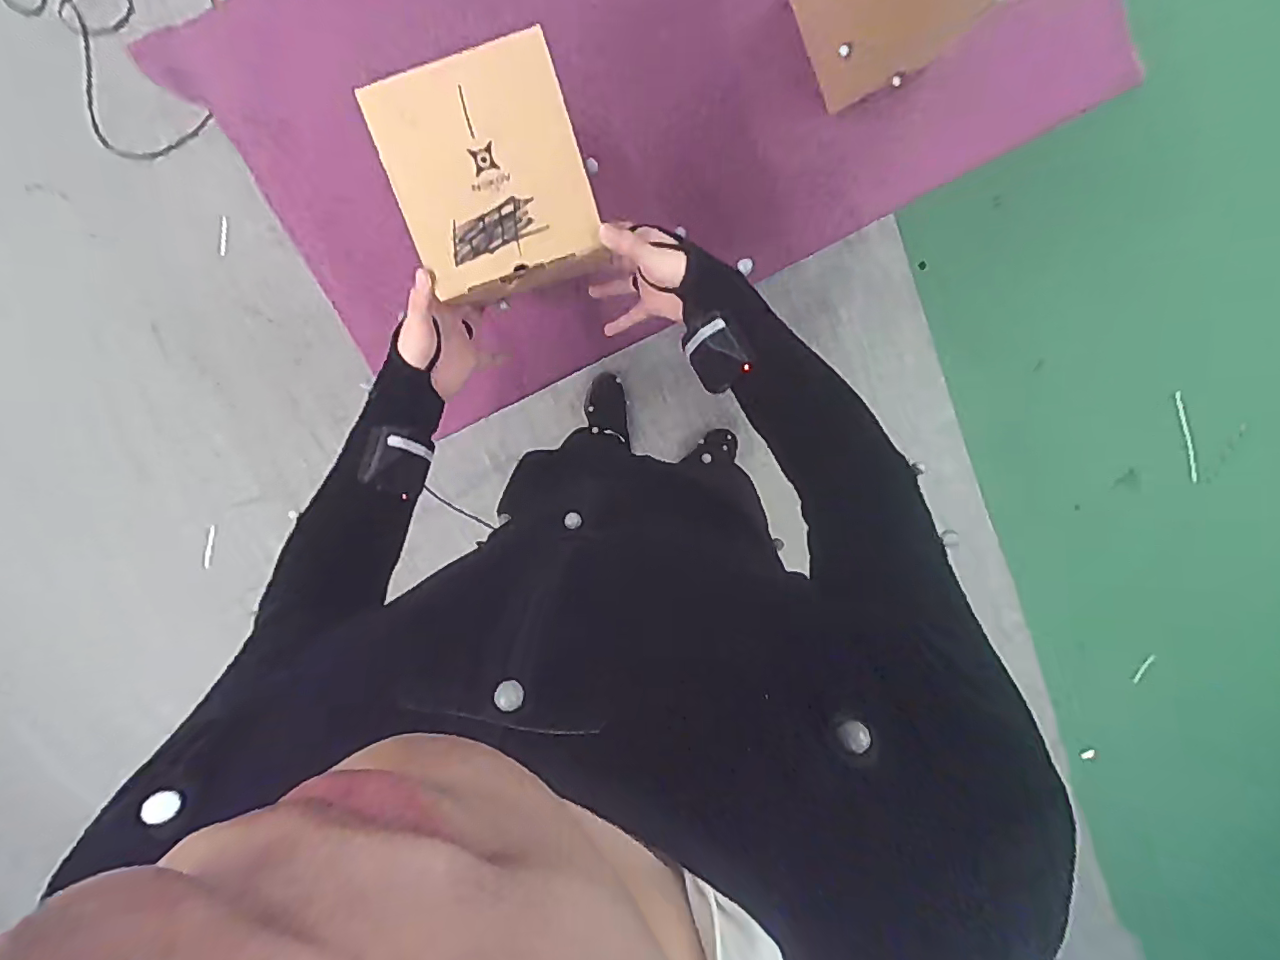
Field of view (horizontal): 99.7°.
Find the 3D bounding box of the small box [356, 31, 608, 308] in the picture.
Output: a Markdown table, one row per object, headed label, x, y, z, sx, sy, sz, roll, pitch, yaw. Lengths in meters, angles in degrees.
| label | x | y | z | sx | sy | sz | roll | pitch | yaw |
| --- | --- | --- | --- | --- | --- | --- | --- | --- | --- |
| small box | -0.132 | -0.278 | 0.532 | 0.168 | 0.176 | 0.179 | -17 | 105 | 2 |
